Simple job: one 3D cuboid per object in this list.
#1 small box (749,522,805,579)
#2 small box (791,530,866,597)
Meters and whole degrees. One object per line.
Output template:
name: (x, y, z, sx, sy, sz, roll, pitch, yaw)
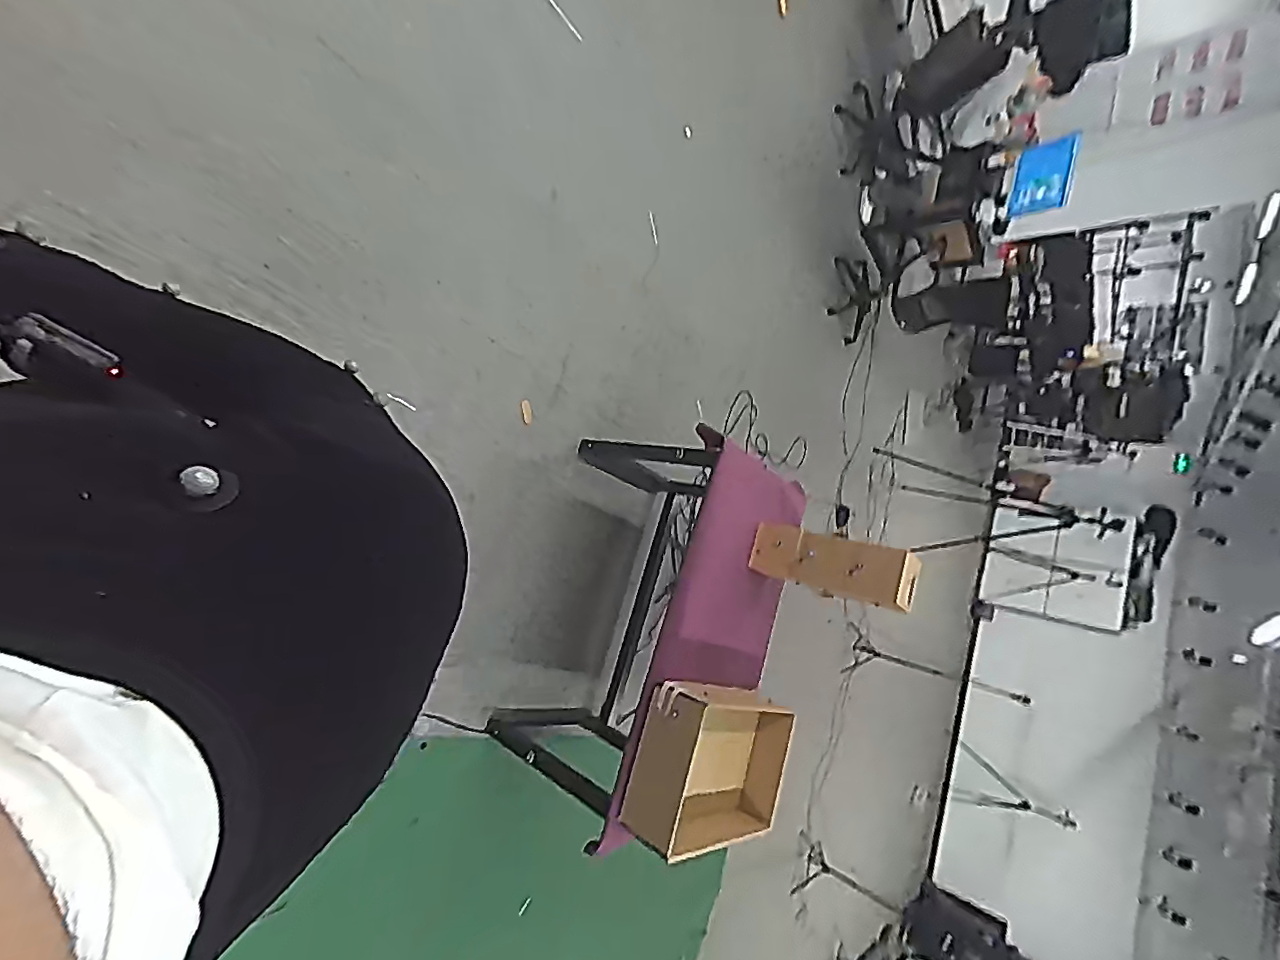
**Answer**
small box: (0.504, 0.251, 1.904, 0.179, 0.176, 0.168, 27, 76, -48)
small box: (0.626, 0.275, 1.796, 0.179, 0.176, 0.168, 32, 72, -45)
